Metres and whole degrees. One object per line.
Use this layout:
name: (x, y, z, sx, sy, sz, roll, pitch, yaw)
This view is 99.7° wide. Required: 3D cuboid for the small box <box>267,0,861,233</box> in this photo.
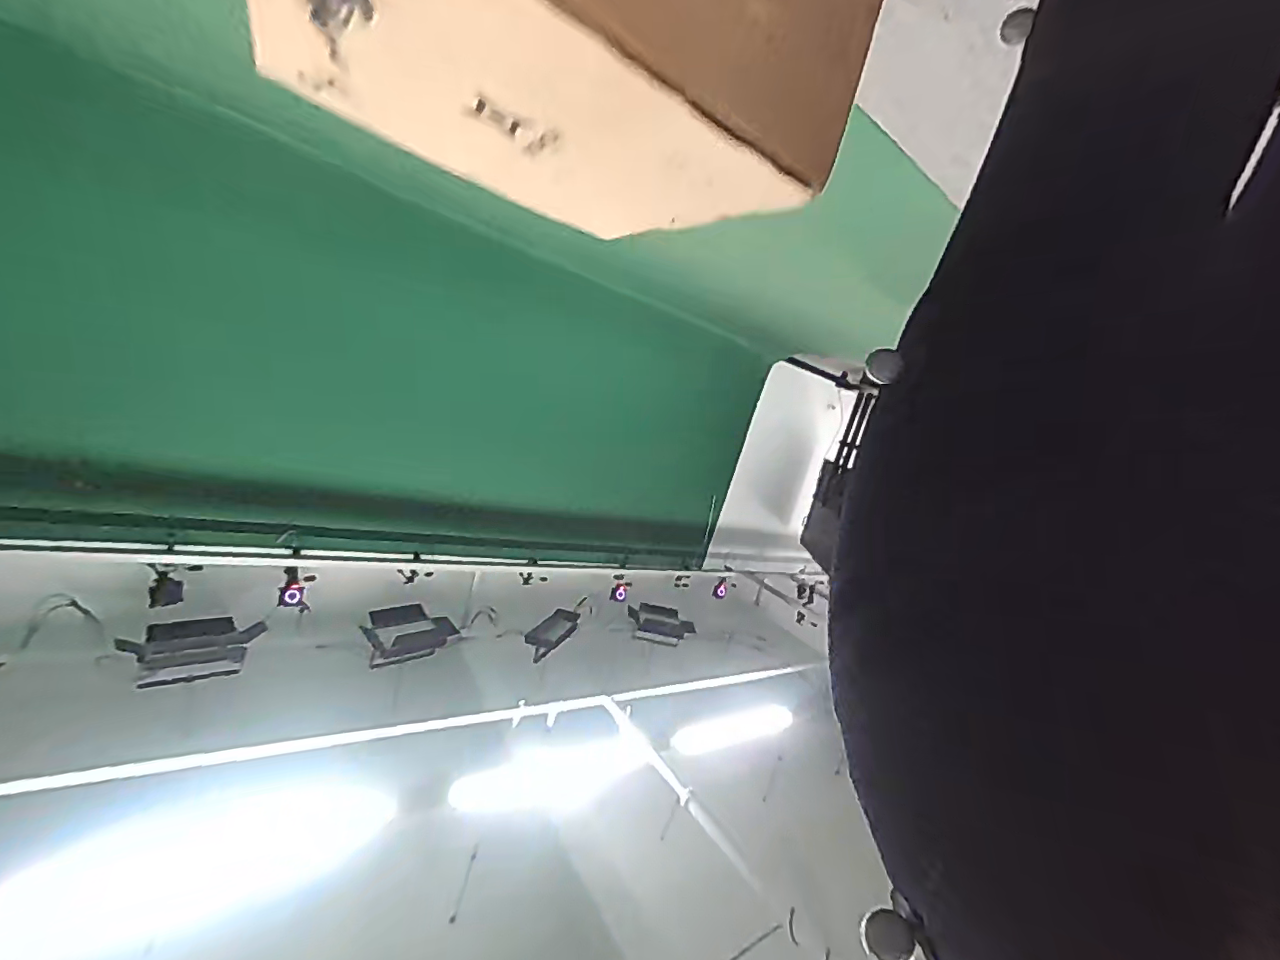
small box: (-0.021, -0.215, 0.199, 0.179, 0.176, 0.168, 10, -170, -35)
